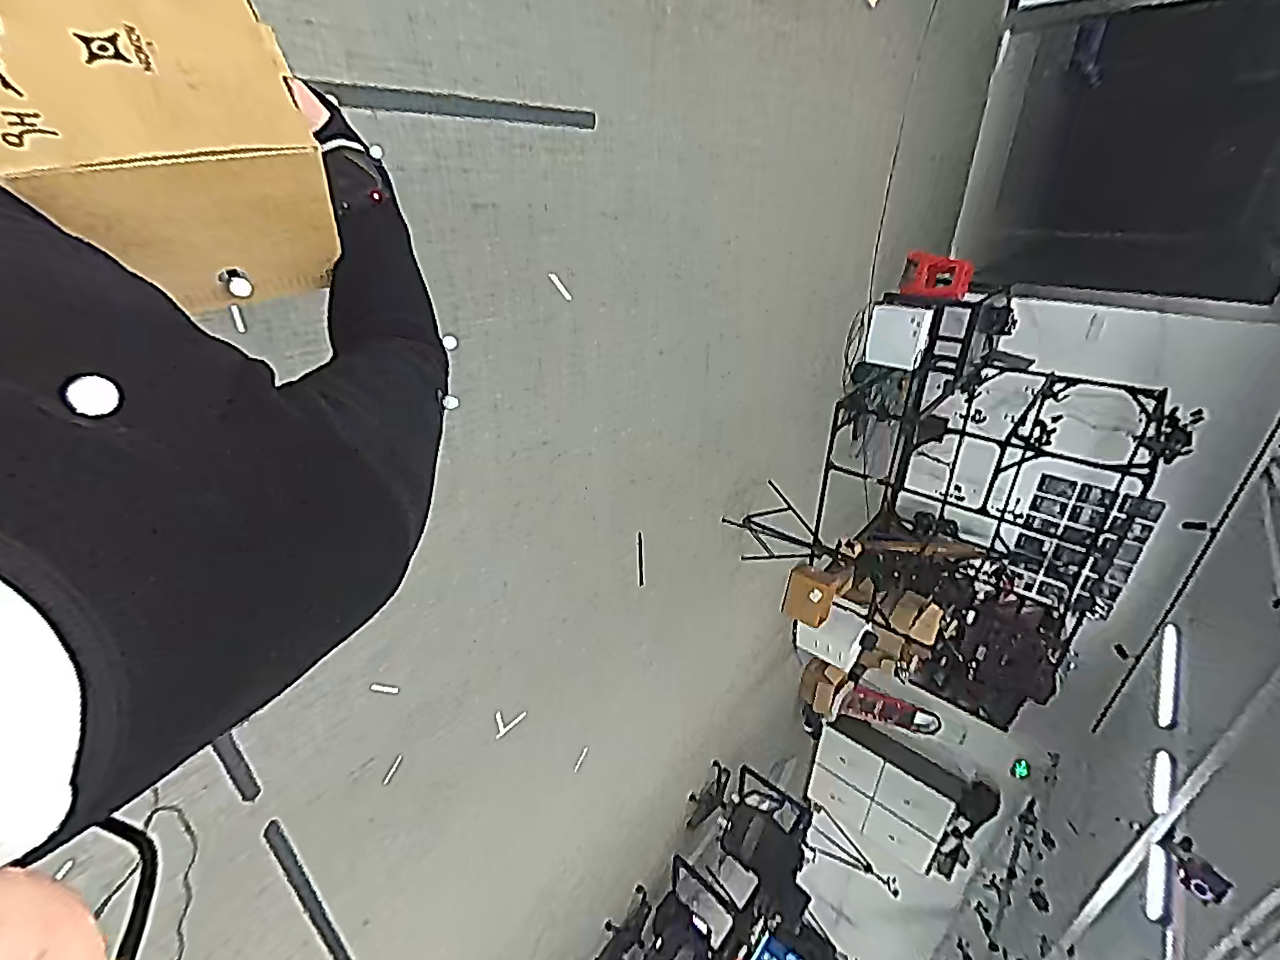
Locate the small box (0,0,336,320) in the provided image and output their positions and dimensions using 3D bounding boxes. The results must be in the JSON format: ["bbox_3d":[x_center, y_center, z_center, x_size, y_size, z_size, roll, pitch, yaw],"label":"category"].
[{"bbox_3d":[-0.366,-0.255,0.435,0.179,0.176,0.168,-23,84,-26],"label":"small box"}]
